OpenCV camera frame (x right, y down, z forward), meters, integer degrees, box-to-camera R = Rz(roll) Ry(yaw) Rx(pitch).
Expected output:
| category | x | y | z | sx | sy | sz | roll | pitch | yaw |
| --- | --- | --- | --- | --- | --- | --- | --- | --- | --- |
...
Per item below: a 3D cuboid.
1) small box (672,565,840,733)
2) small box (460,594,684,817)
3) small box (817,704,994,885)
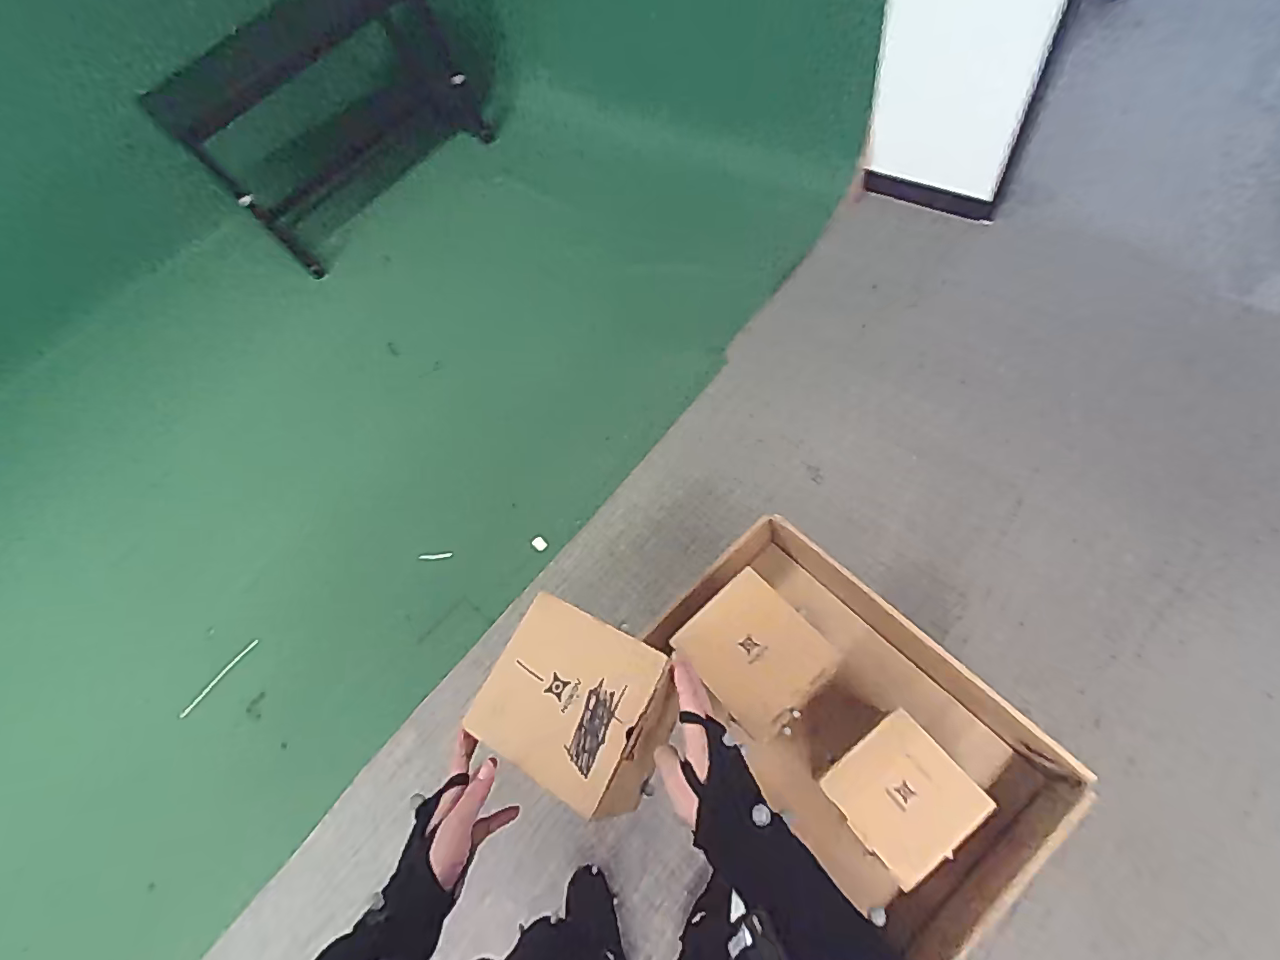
| category | x | y | z | sx | sy | sz | roll | pitch | yaw |
| --- | --- | --- | --- | --- | --- | --- | --- | --- | --- |
| small box | 0.177 | 0.265 | 0.831 | 0.168 | 0.176 | 0.179 | -42 | 62 | -6 |
| small box | -0.065 | 0.261 | 0.640 | 0.179 | 0.176 | 0.168 | 20 | 71 | 26 |
| small box | 0.399 | 0.479 | 0.845 | 0.179 | 0.176 | 0.168 | -39 | 61 | -4 |
